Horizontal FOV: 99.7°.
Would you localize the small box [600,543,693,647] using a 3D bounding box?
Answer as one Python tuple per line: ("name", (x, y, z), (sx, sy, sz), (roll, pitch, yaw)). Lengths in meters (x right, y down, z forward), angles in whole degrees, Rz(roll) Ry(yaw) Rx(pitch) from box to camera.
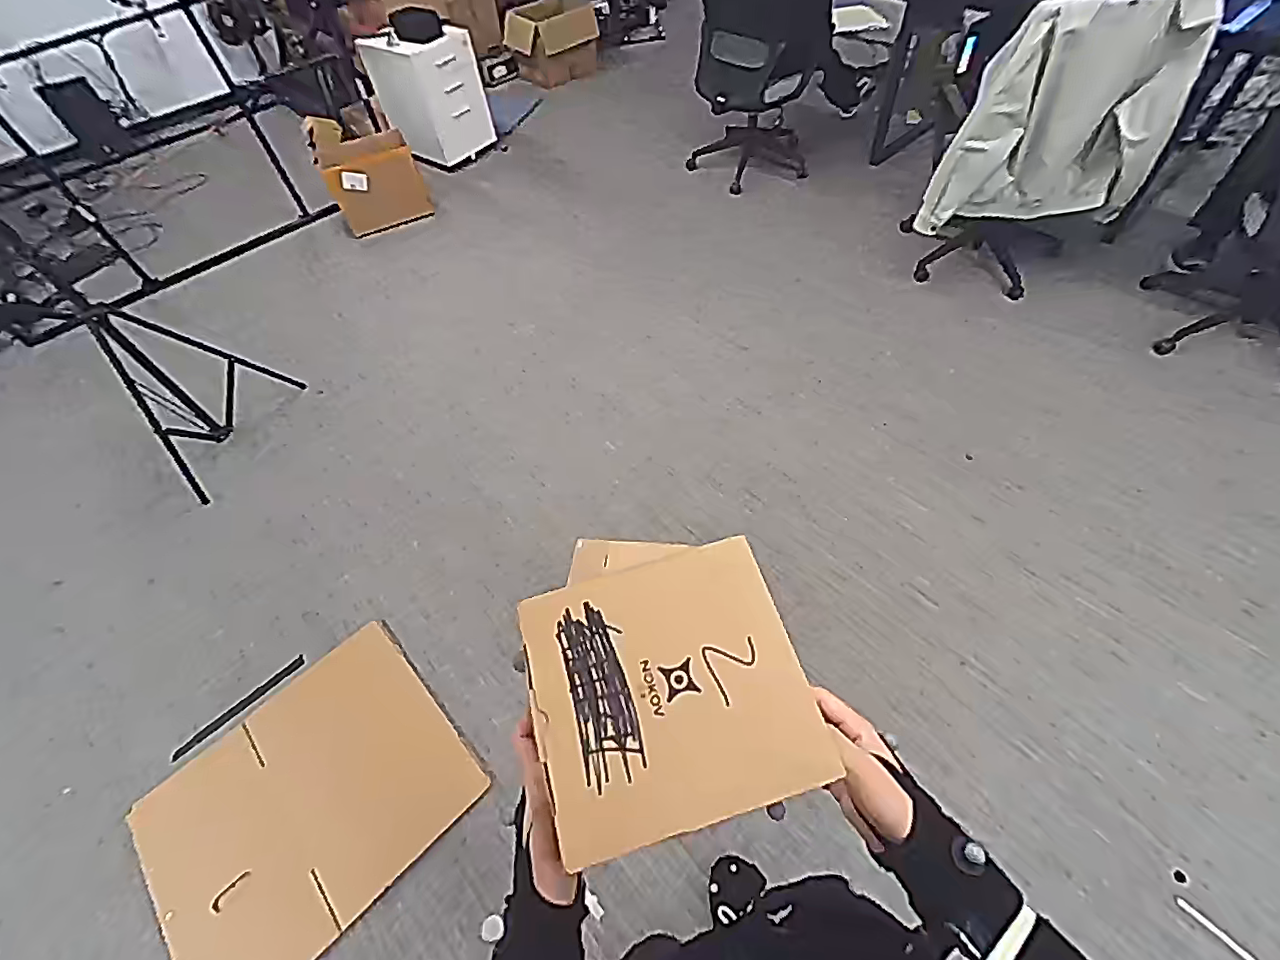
("small box", (0.022, 0.248, 1.154), (0.179, 0.176, 0.168), (2, 56, 6))
